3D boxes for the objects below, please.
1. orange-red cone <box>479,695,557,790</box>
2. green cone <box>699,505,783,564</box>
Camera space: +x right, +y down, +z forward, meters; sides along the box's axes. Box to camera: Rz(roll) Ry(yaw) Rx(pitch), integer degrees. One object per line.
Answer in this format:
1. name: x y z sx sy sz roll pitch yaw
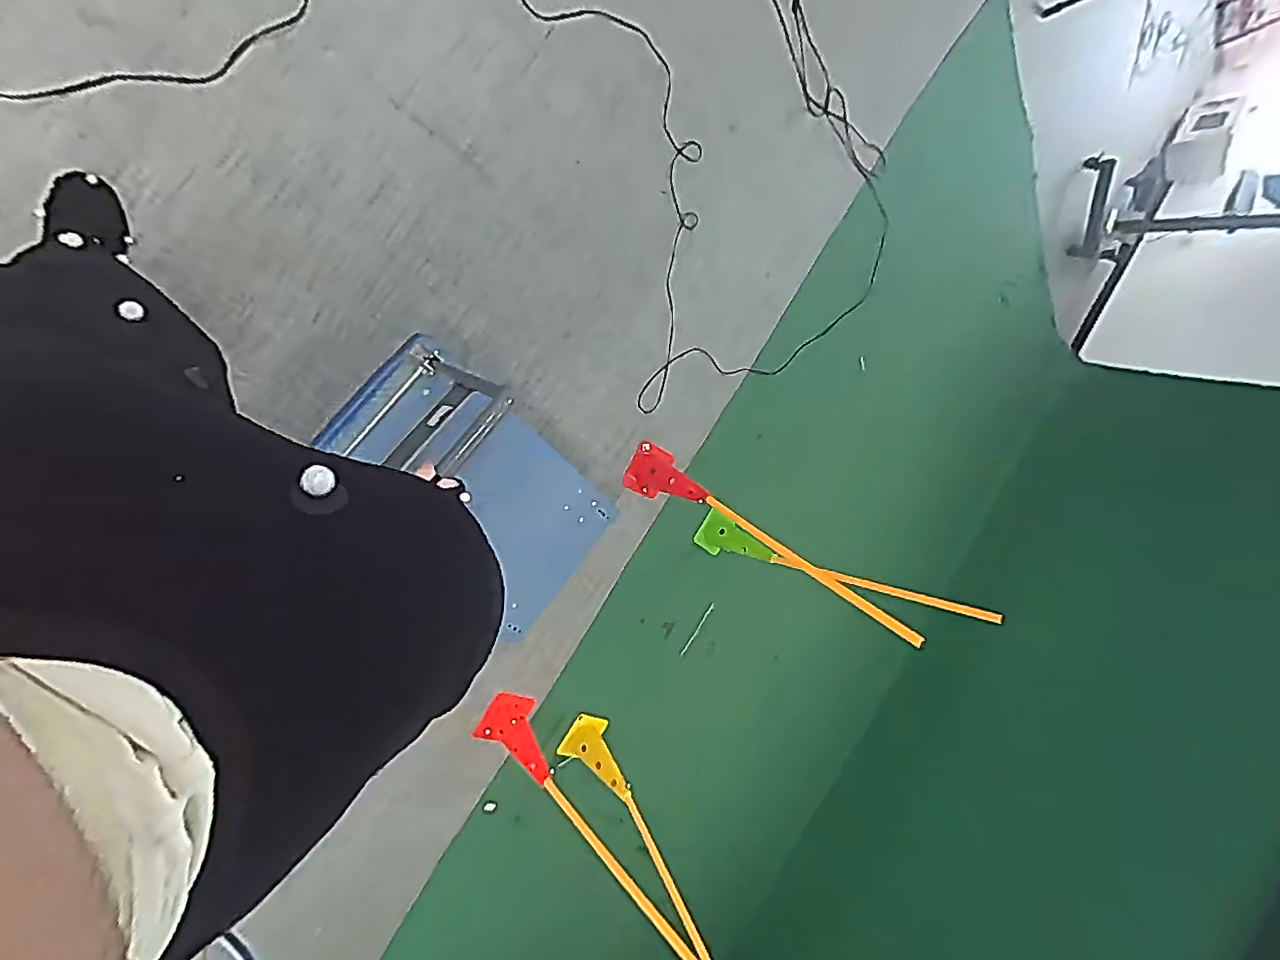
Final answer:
1. orange-red cone: -0.402 0.983 1.970 0.199 0.360 0.198 36 85 -43
2. green cone: 0.471 0.281 2.371 0.202 0.368 0.200 36 83 -42
